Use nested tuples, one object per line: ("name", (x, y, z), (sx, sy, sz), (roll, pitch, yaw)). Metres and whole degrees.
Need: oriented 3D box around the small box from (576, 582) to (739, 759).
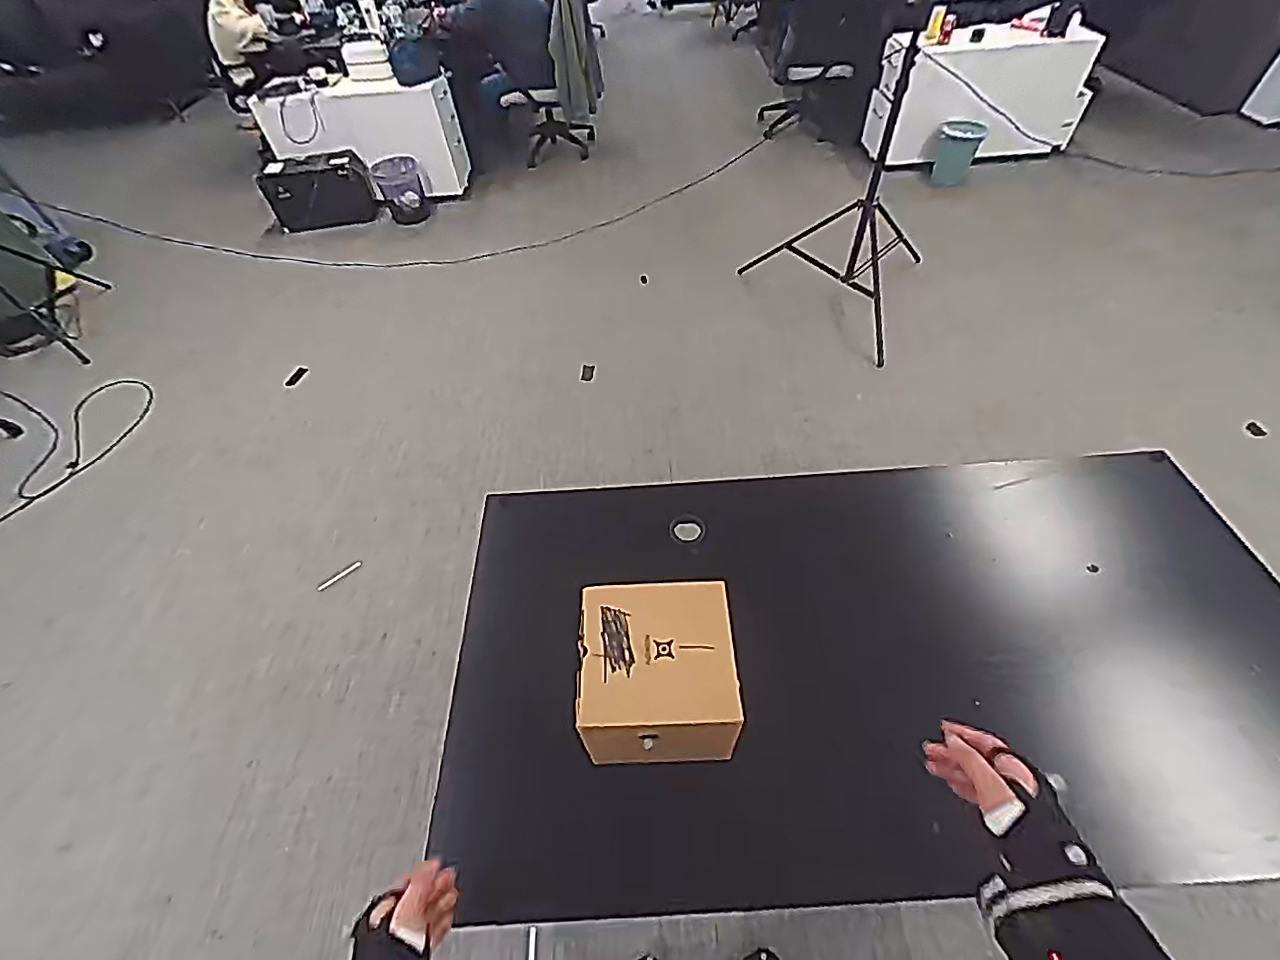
("small box", (0.021, 0.243, 0.680), (0.179, 0.176, 0.168), (-2, 51, 1))
